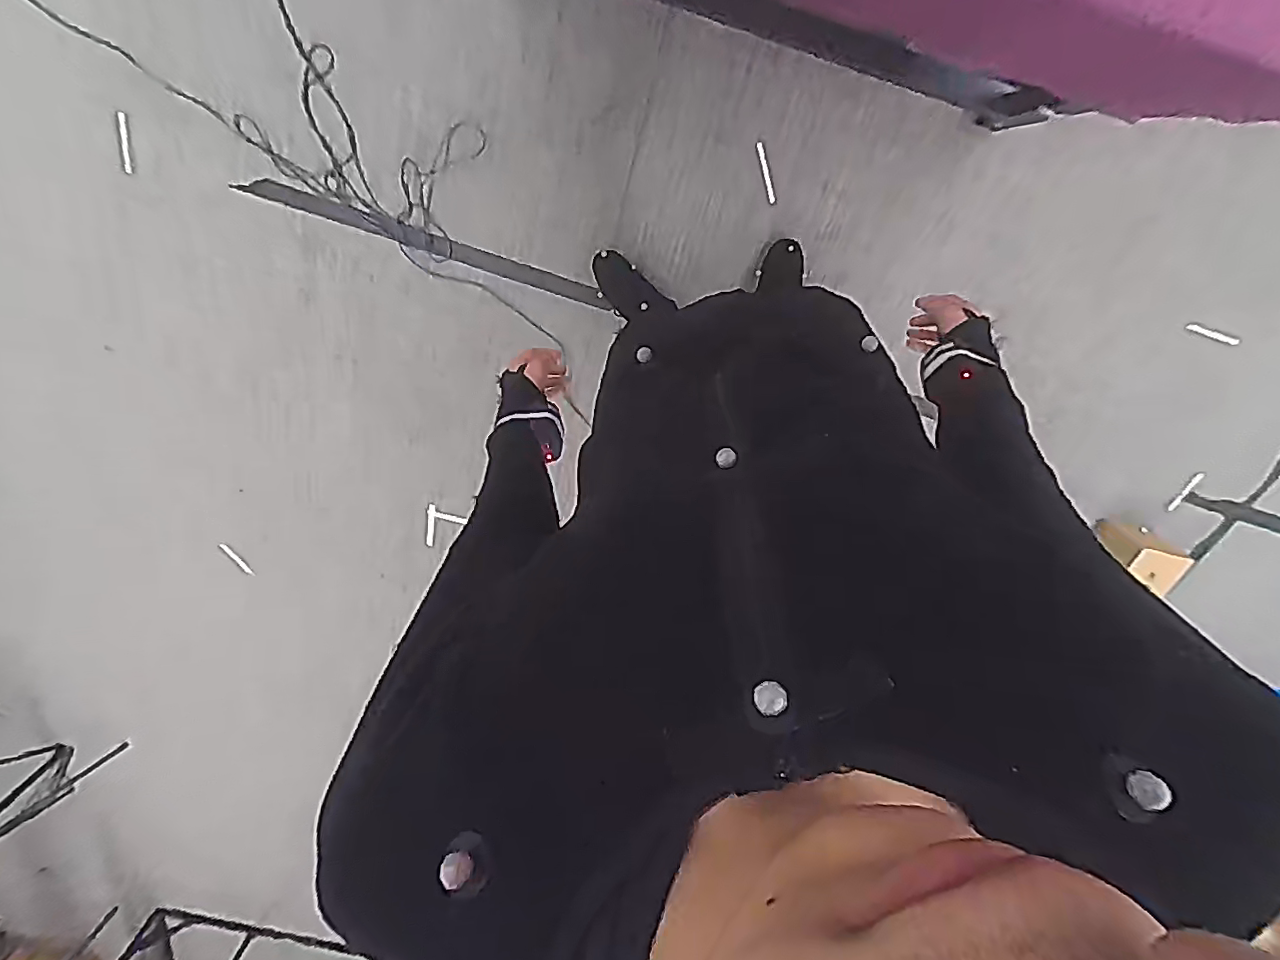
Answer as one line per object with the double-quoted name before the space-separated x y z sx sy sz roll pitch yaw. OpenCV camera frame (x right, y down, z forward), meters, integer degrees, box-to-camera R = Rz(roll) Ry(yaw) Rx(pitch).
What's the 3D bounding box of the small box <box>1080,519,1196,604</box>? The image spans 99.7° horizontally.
"small box" 1.519 0.249 1.669 0.168 0.176 0.179 14 118 -3
